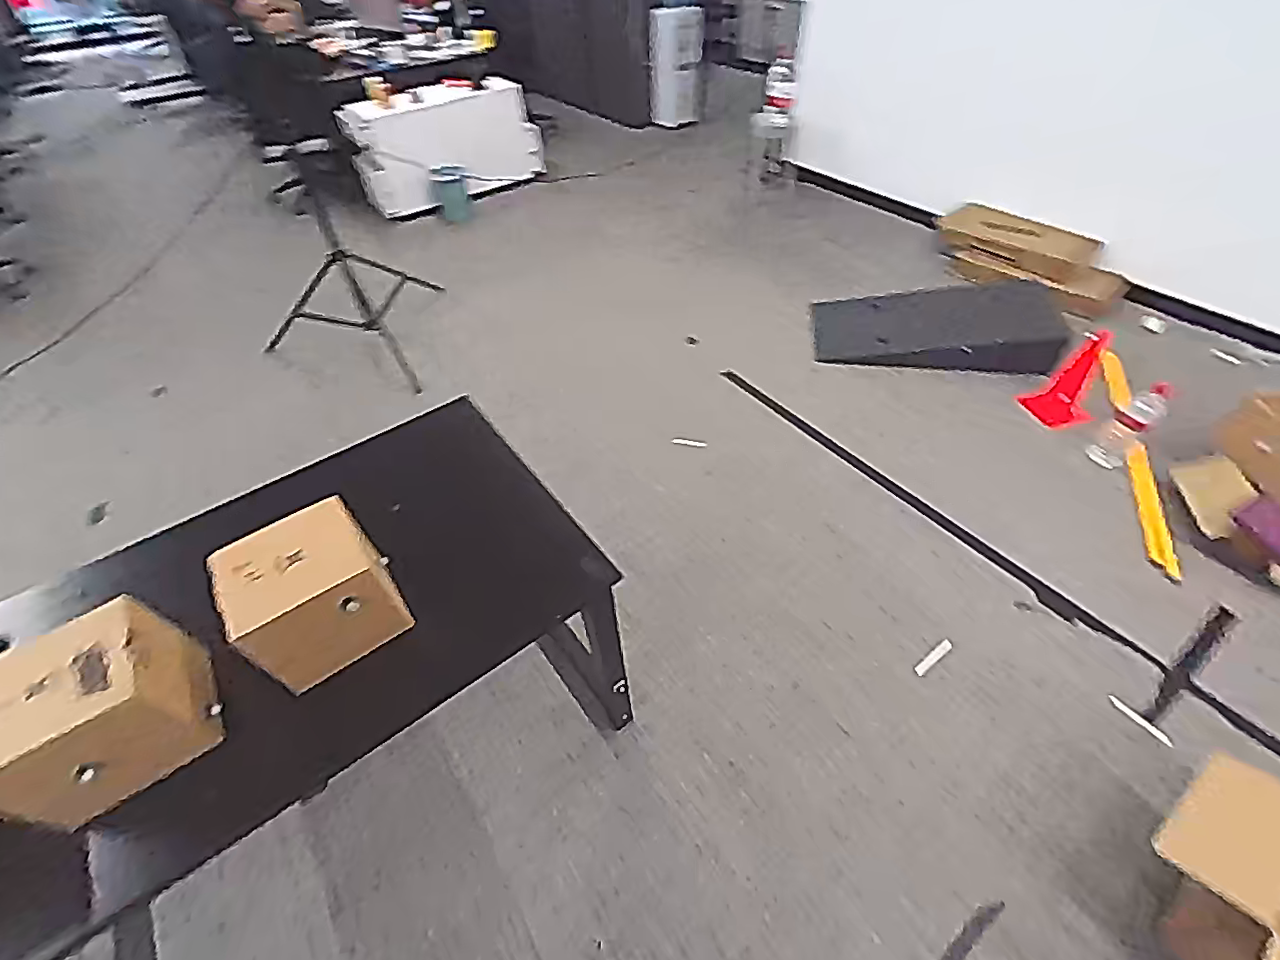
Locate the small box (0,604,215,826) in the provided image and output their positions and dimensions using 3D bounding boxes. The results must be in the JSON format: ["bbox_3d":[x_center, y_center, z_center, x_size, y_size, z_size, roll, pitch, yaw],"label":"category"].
[{"bbox_3d":[-0.687,0.300,0.692,0.179,0.176,0.168,-31,53,-21],"label":"small box"}]

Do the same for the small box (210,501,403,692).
[{"bbox_3d":[-0.473,0.170,0.793,0.179,0.176,0.168,-32,53,-23],"label":"small box"}]
